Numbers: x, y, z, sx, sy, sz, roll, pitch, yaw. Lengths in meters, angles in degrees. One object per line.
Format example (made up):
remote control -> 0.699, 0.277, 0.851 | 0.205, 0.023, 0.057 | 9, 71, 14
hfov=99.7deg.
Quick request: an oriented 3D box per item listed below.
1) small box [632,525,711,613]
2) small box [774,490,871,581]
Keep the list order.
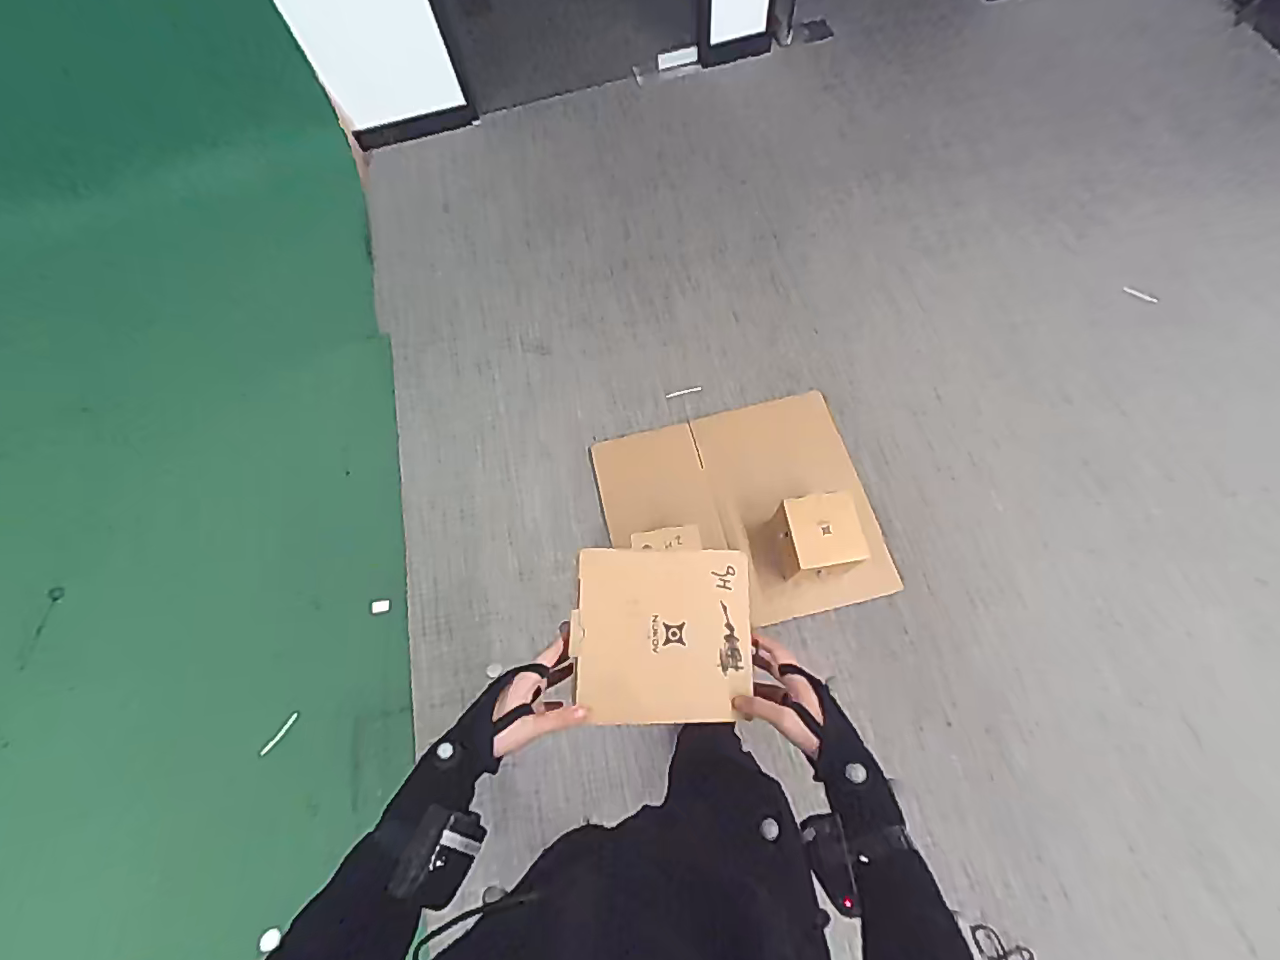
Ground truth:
small box -> 0.078, 0.225, 1.328 | 0.168, 0.176, 0.179 | -9, 68, 0
small box -> 0.440, 0.144, 1.331 | 0.168, 0.176, 0.179 | -10, 67, 0
